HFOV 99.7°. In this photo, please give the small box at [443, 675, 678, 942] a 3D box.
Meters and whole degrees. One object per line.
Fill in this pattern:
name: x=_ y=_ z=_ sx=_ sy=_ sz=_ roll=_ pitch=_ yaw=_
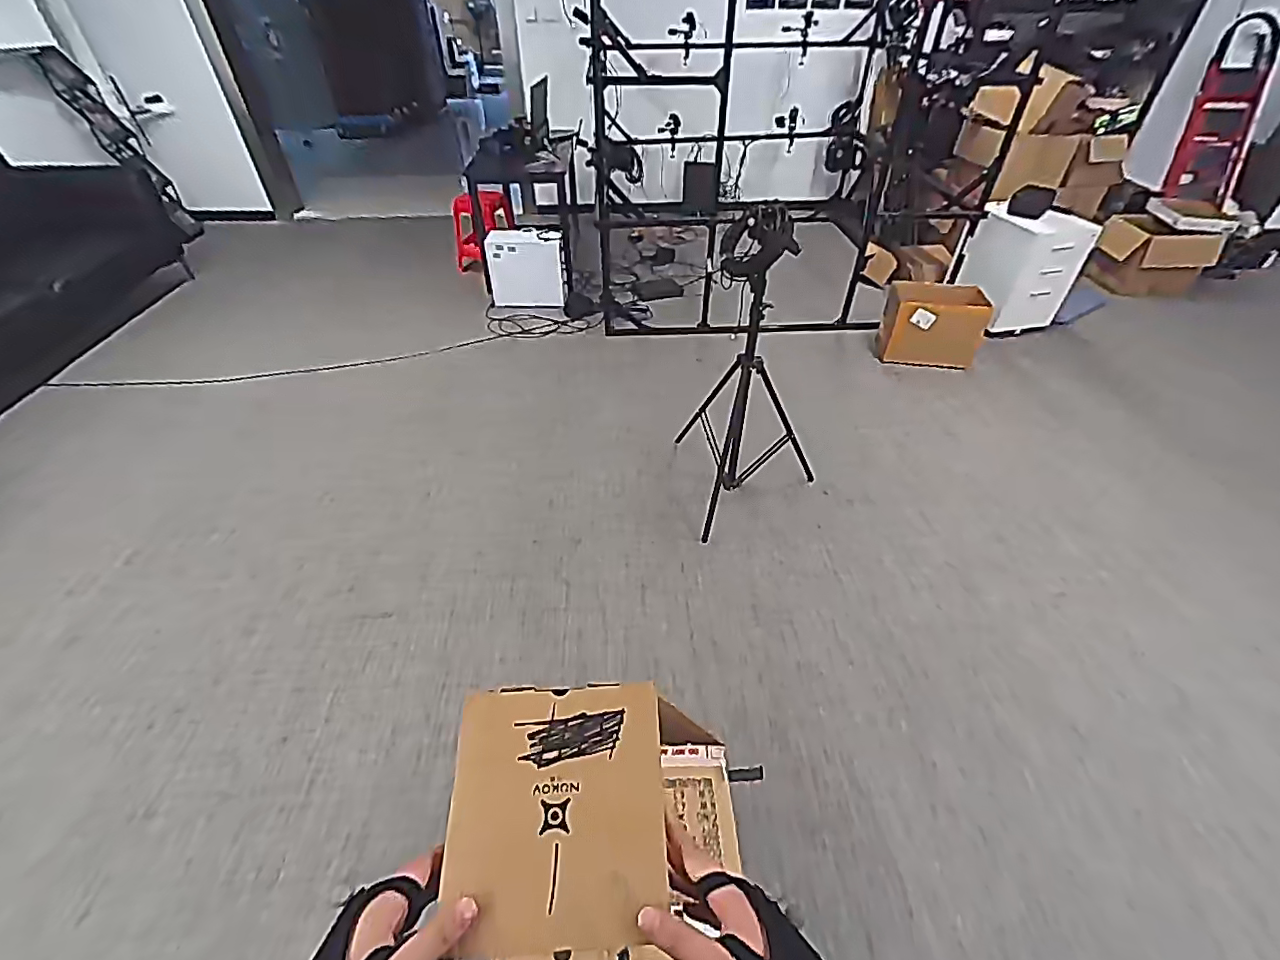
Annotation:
small box: x=-0.060 y=0.291 z=0.487 sx=0.168 sy=0.176 sz=0.179 roll=-3 pitch=54 yaw=-2
